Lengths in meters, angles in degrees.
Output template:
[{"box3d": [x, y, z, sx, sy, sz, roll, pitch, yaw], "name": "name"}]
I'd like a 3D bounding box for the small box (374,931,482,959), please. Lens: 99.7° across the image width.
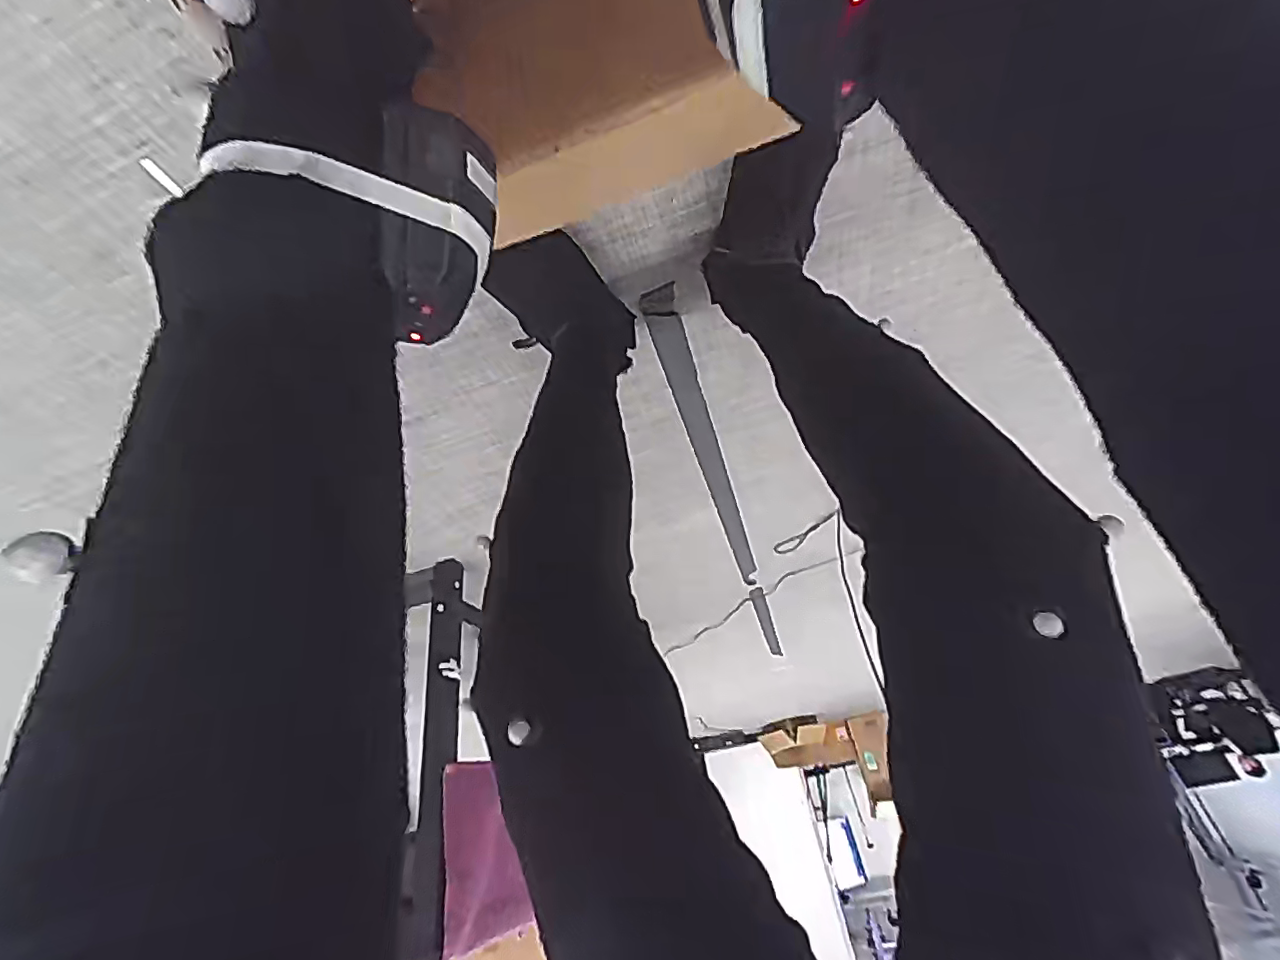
[{"box3d": [-0.449, 1.078, 1.140, 0.179, 0.176, 0.168, -20, 146, 16], "name": "small box"}]
